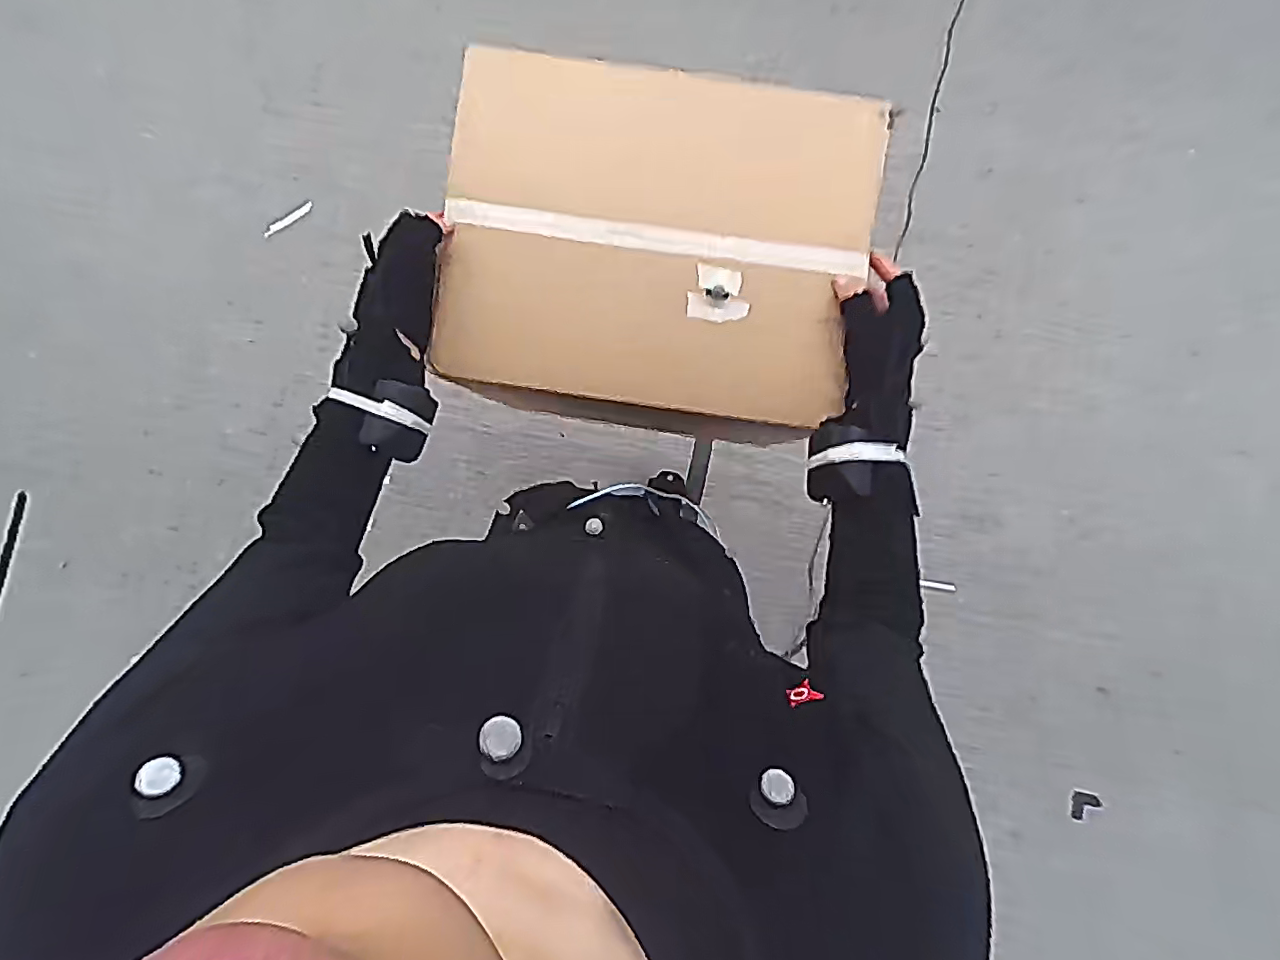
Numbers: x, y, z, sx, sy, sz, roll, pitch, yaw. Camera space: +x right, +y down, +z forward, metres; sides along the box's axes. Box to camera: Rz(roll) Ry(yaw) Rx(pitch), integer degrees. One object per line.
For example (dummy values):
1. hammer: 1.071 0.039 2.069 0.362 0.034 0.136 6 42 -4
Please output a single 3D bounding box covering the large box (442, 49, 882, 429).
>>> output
1. large box: 0.018 -0.248 0.675 0.408 0.320 0.320 8 93 0
